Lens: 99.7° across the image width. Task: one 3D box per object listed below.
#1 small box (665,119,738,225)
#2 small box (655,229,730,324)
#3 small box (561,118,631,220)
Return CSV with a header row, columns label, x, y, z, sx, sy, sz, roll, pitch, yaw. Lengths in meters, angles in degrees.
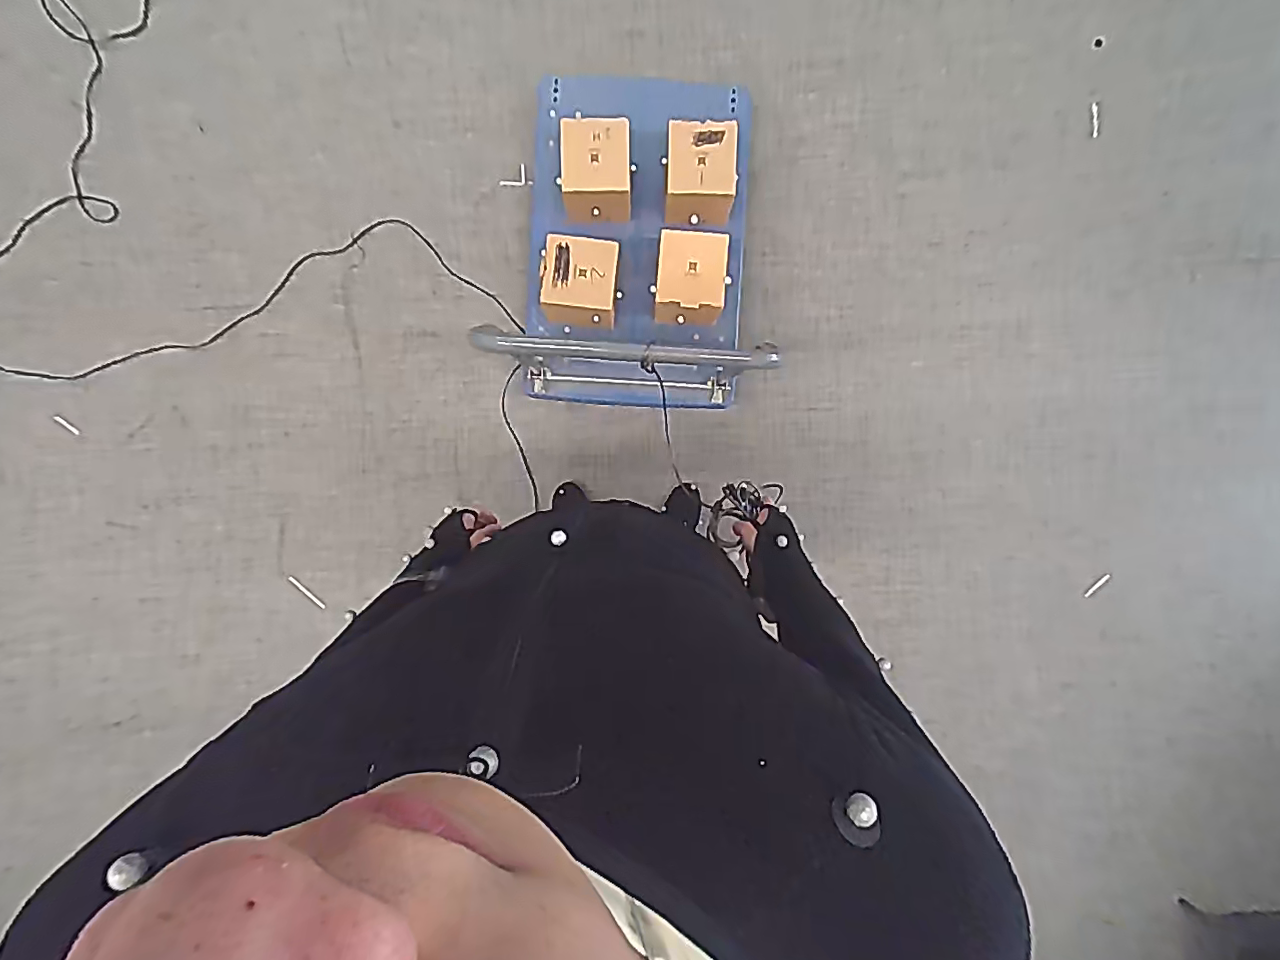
label,x,y,z,sx,sy,sz,roll,pitch,yaw
small box,0.150,-0.771,1.366,0.168,0.176,0.179,1,92,1
small box,0.126,-0.510,1.374,0.168,0.176,0.179,4,92,0
small box,-0.108,-0.776,1.365,0.168,0.176,0.179,0,91,-1
